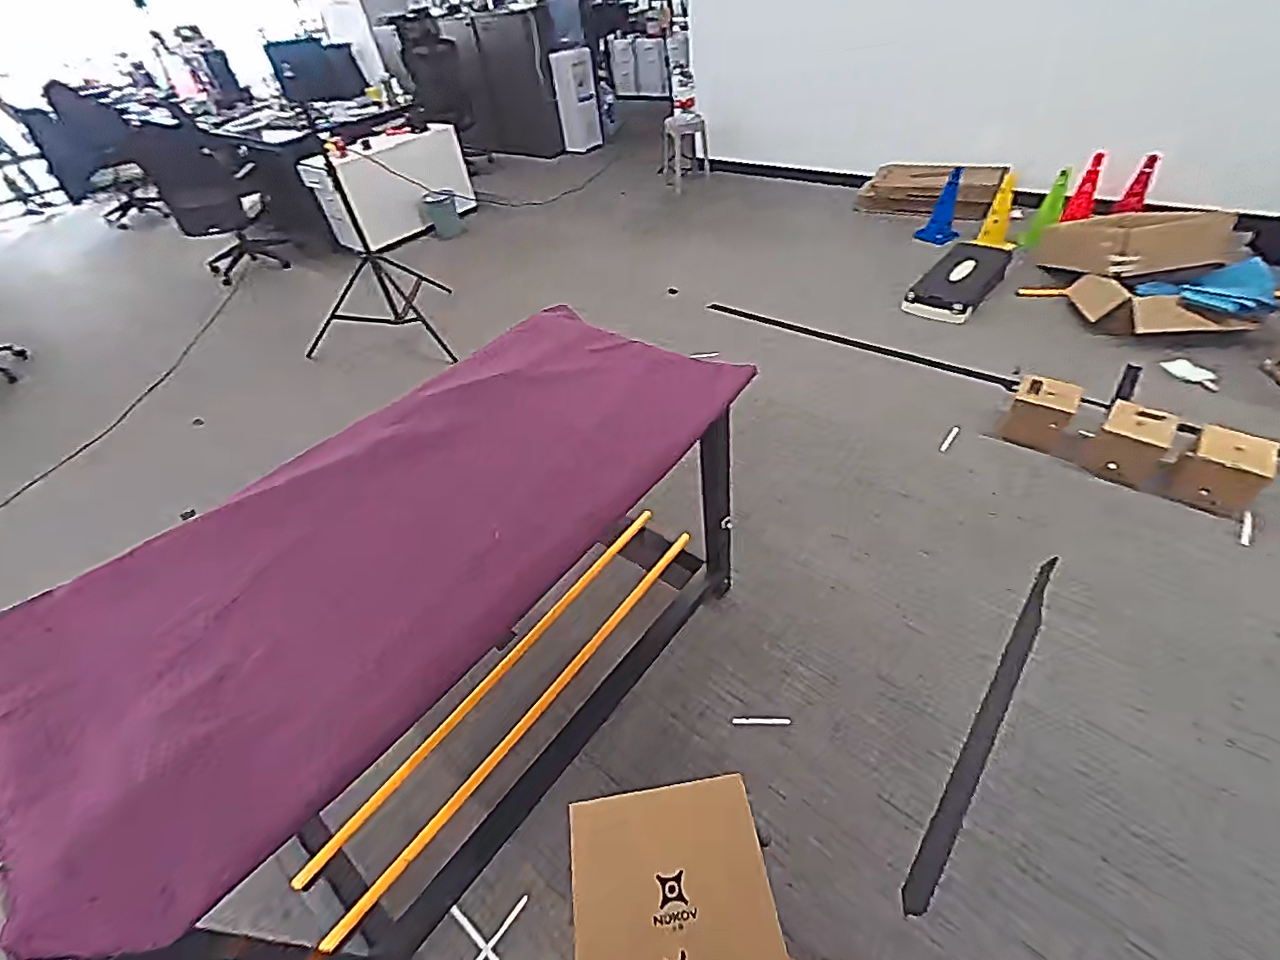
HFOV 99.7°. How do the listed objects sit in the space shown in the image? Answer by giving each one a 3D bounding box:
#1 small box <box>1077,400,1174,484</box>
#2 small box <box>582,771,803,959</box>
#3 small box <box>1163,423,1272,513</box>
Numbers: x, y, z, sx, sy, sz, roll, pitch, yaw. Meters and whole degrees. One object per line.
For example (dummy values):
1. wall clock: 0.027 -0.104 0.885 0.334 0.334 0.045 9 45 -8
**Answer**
1. small box: 1.553 -0.122 1.738 0.168 0.176 0.179 29 56 32
2. small box: 0.043 0.397 0.489 0.168 0.176 0.179 -9 43 -1
3. small box: 1.731 -0.035 1.627 0.168 0.176 0.179 27 55 30
